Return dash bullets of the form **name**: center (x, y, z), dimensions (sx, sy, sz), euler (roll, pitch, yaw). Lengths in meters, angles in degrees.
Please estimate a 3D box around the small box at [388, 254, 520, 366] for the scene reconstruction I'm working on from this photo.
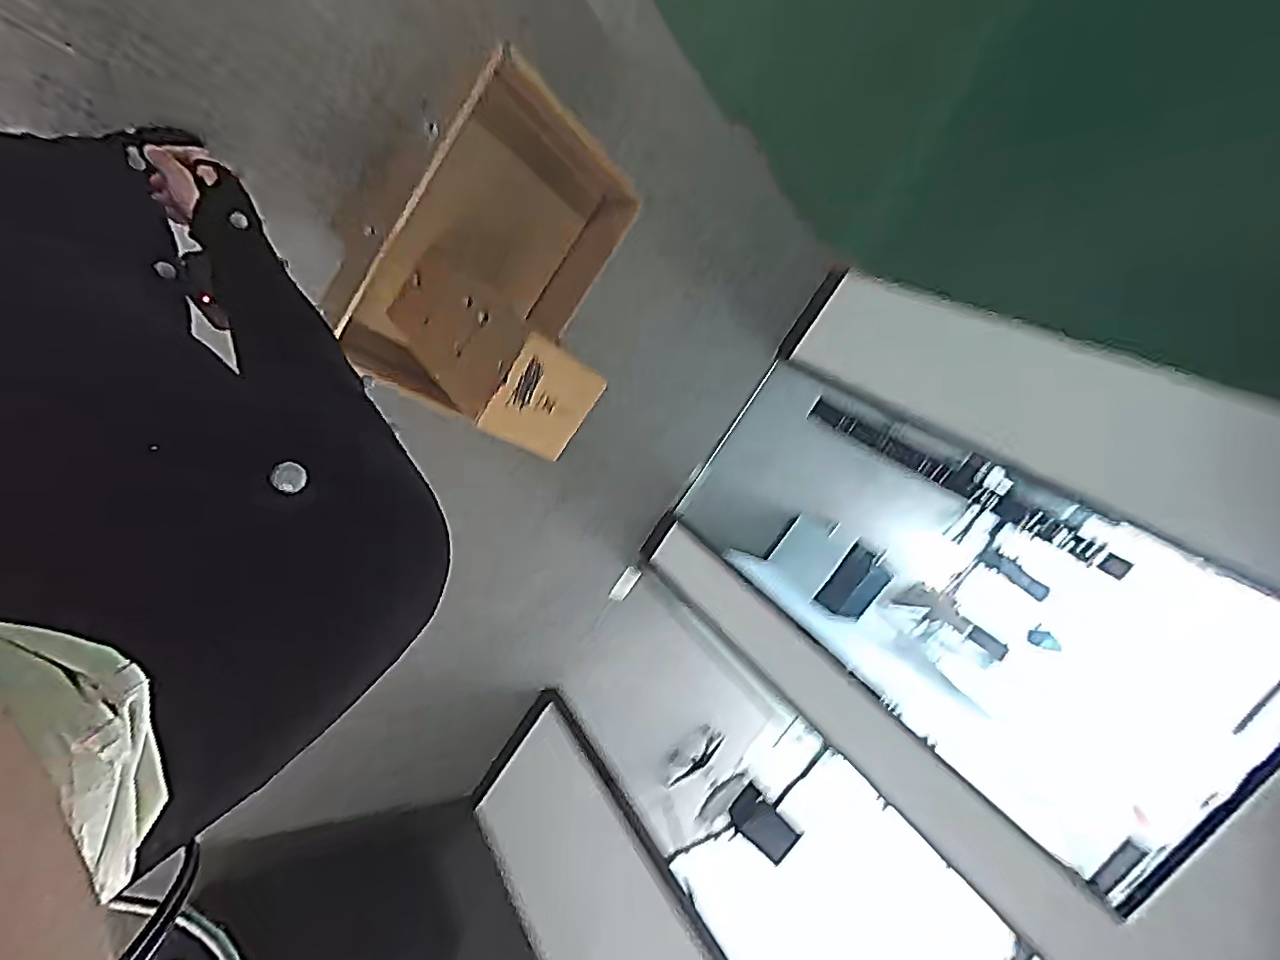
- **small box**: center (-0.384, -0.336, 1.115), dimensions (0.168, 0.176, 0.179), euler (-53, 140, 7)

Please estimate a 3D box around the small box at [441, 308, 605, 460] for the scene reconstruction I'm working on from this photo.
- **small box**: center (-0.199, -0.164, 0.904), dimensions (0.168, 0.176, 0.179), euler (-54, 141, 8)
